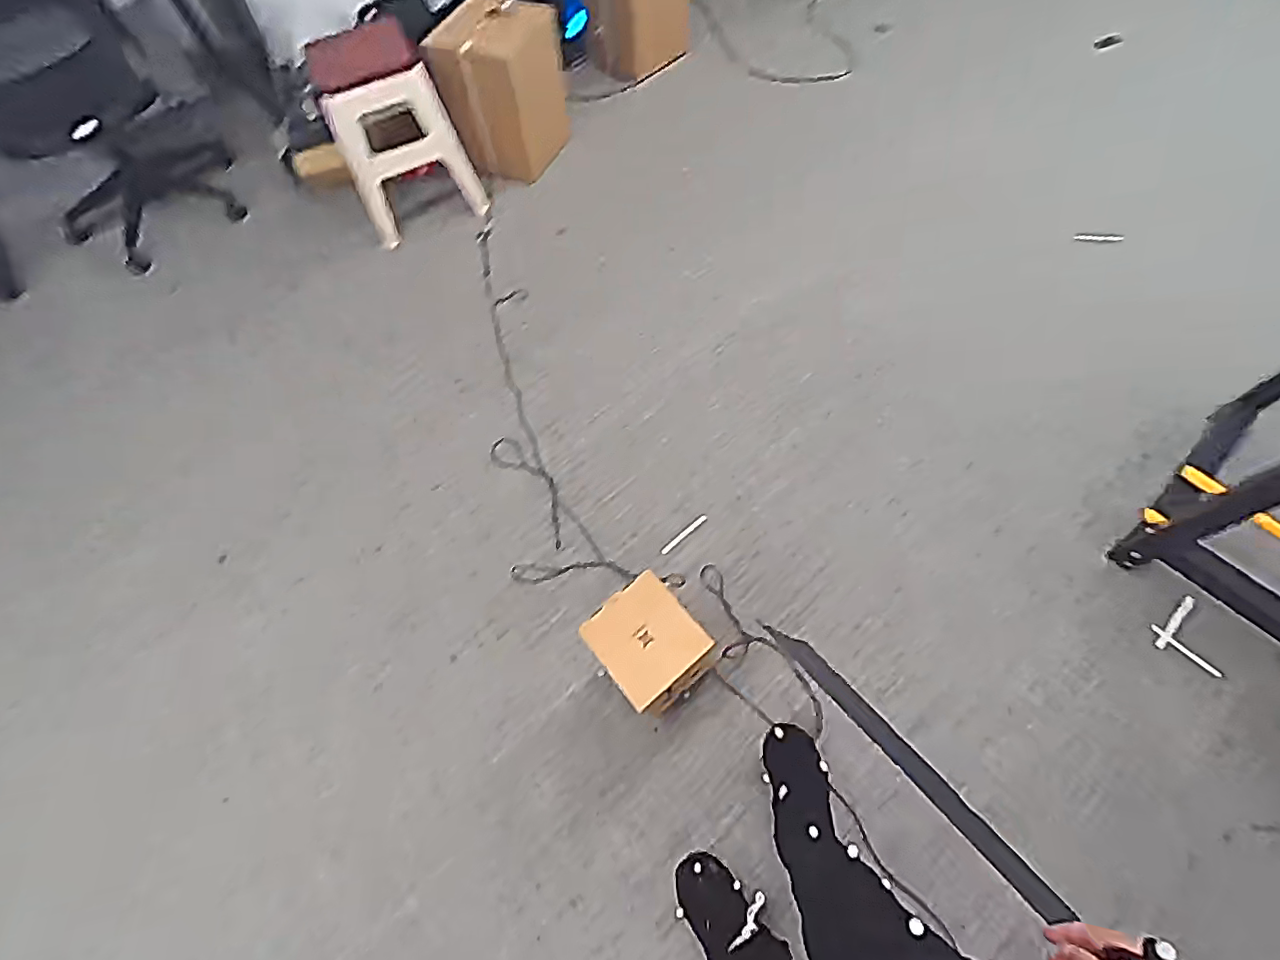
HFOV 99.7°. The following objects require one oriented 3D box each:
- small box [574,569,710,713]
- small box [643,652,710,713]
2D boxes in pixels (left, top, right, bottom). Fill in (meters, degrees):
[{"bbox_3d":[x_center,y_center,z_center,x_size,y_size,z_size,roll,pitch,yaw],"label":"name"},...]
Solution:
[{"bbox_3d":[0.010,0.295,0.978,0.168,0.176,0.179,-39,66,-12],"label":"small box"},{"bbox_3d":[0.026,0.363,1.124,0.168,0.176,0.179,-39,68,-12],"label":"small box"}]
